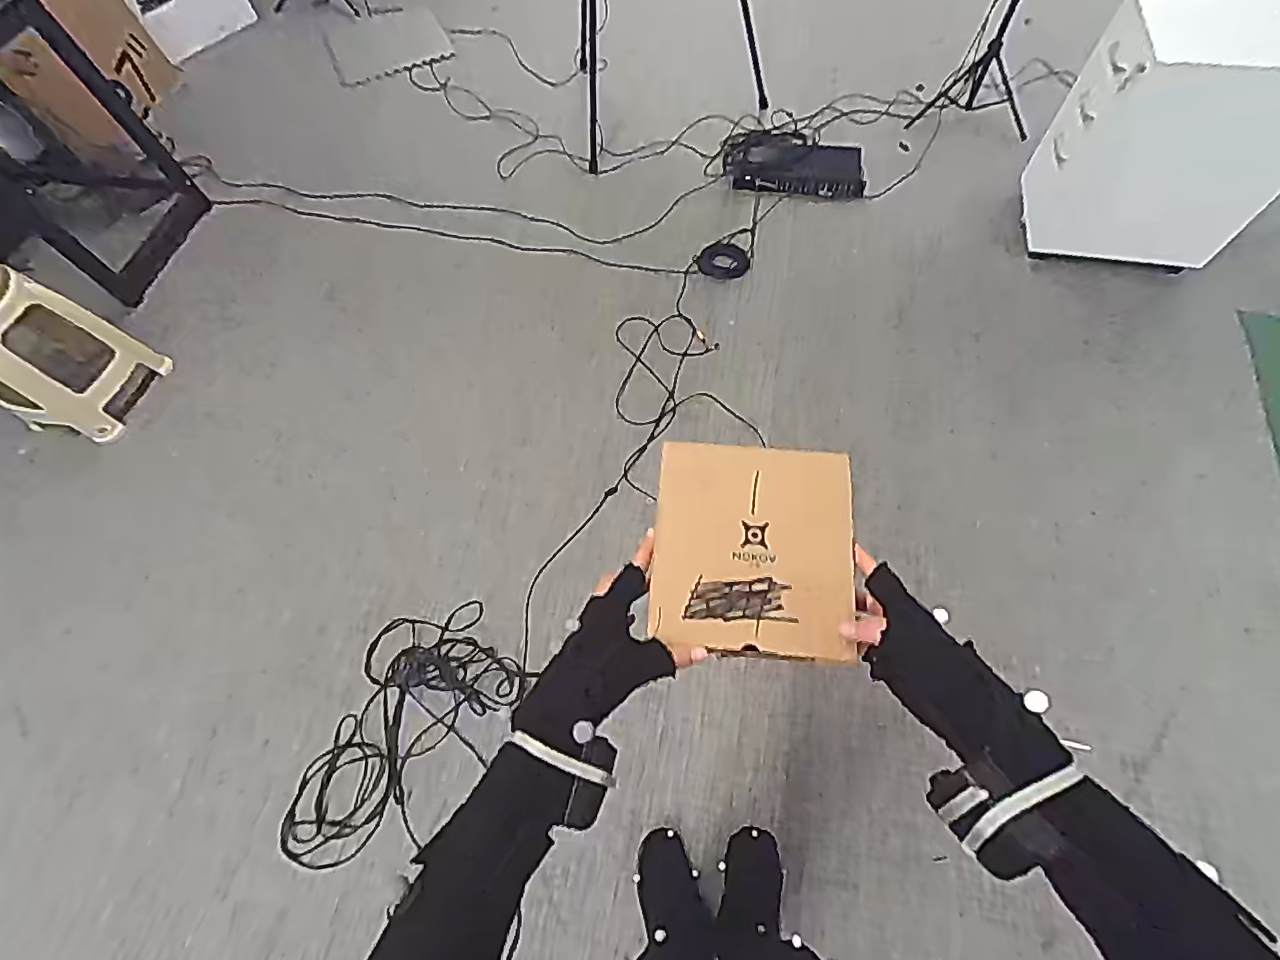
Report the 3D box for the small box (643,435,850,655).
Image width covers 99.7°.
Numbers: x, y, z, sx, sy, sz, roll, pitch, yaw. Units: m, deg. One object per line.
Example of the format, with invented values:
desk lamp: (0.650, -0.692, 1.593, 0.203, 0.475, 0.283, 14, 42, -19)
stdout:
small box: (0.093, 0.072, 0.527, 0.168, 0.176, 0.179, 4, 72, 2)
